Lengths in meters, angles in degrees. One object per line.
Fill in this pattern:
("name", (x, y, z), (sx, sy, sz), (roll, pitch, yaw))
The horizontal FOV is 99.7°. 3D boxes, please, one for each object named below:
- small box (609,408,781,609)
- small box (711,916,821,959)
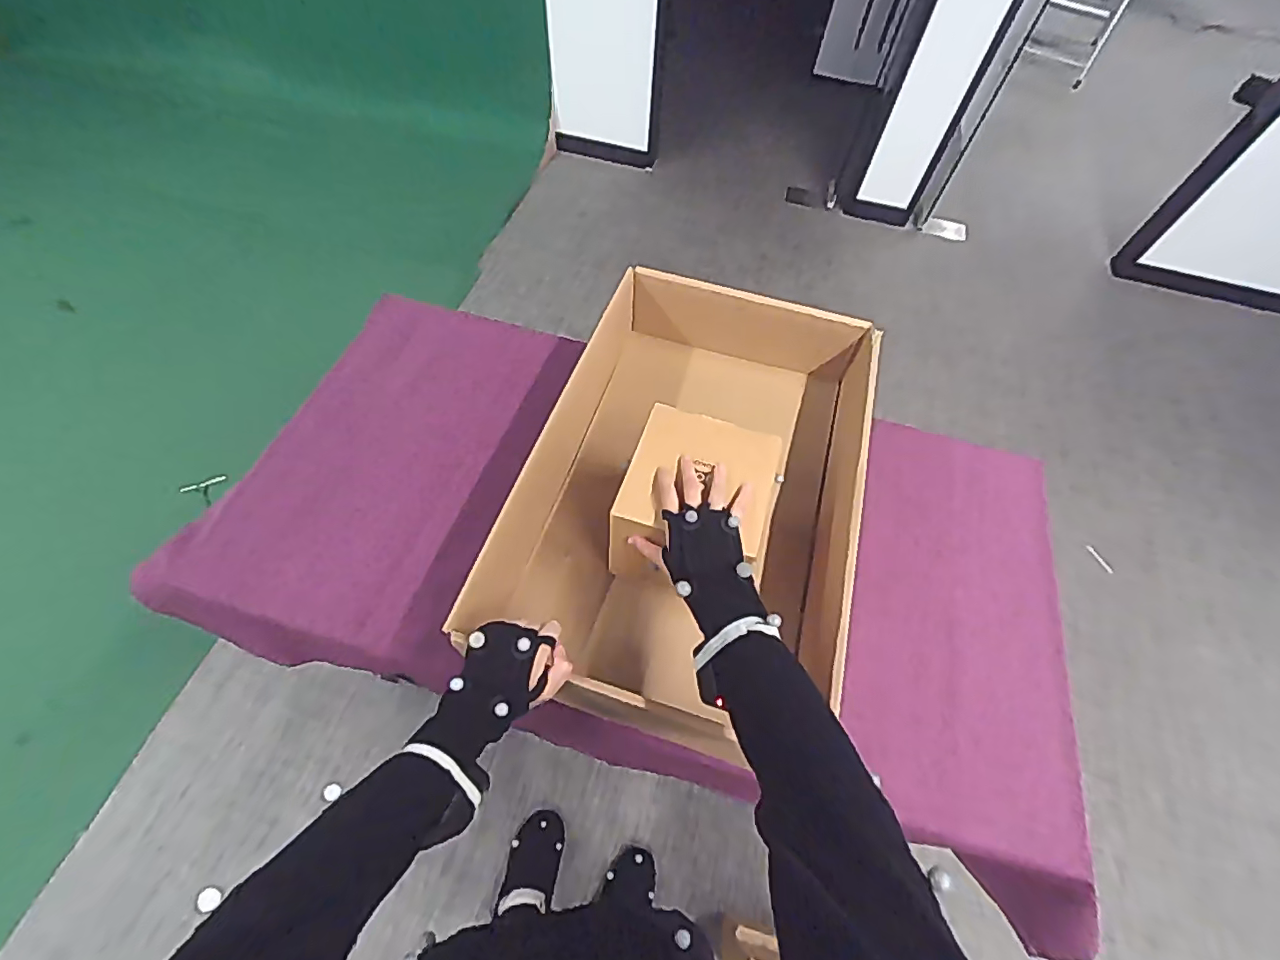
("small box", (0.067, 0.042, 0.694), (0.168, 0.176, 0.179), (17, 56, 7))
("small box", (0.235, 0.981, 1.049), (0.179, 0.176, 0.168), (15, 59, 6))
